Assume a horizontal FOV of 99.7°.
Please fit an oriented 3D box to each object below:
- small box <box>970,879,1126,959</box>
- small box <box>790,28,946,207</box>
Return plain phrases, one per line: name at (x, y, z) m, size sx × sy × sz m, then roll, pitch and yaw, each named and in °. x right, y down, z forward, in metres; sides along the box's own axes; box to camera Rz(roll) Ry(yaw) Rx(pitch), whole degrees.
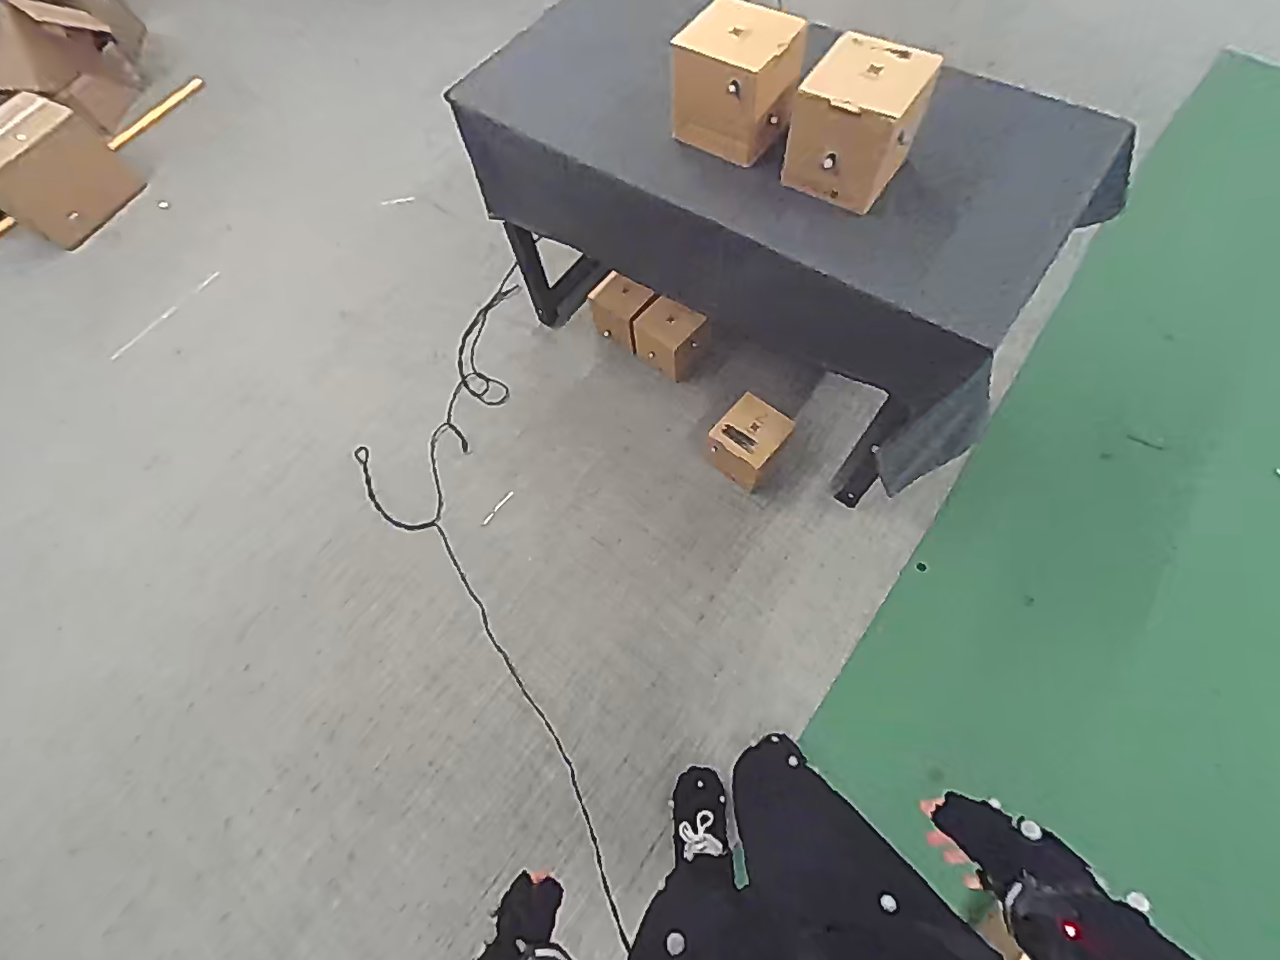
small box at (0.775, 0.902, 1.014) m, size 0.168 × 0.176 × 0.179 m, roll -40°, pitch 68°, yaw -13°
small box at (0.370, -0.601, 0.911) m, size 0.168 × 0.176 × 0.179 m, roll 32°, pitch 73°, yaw 16°
